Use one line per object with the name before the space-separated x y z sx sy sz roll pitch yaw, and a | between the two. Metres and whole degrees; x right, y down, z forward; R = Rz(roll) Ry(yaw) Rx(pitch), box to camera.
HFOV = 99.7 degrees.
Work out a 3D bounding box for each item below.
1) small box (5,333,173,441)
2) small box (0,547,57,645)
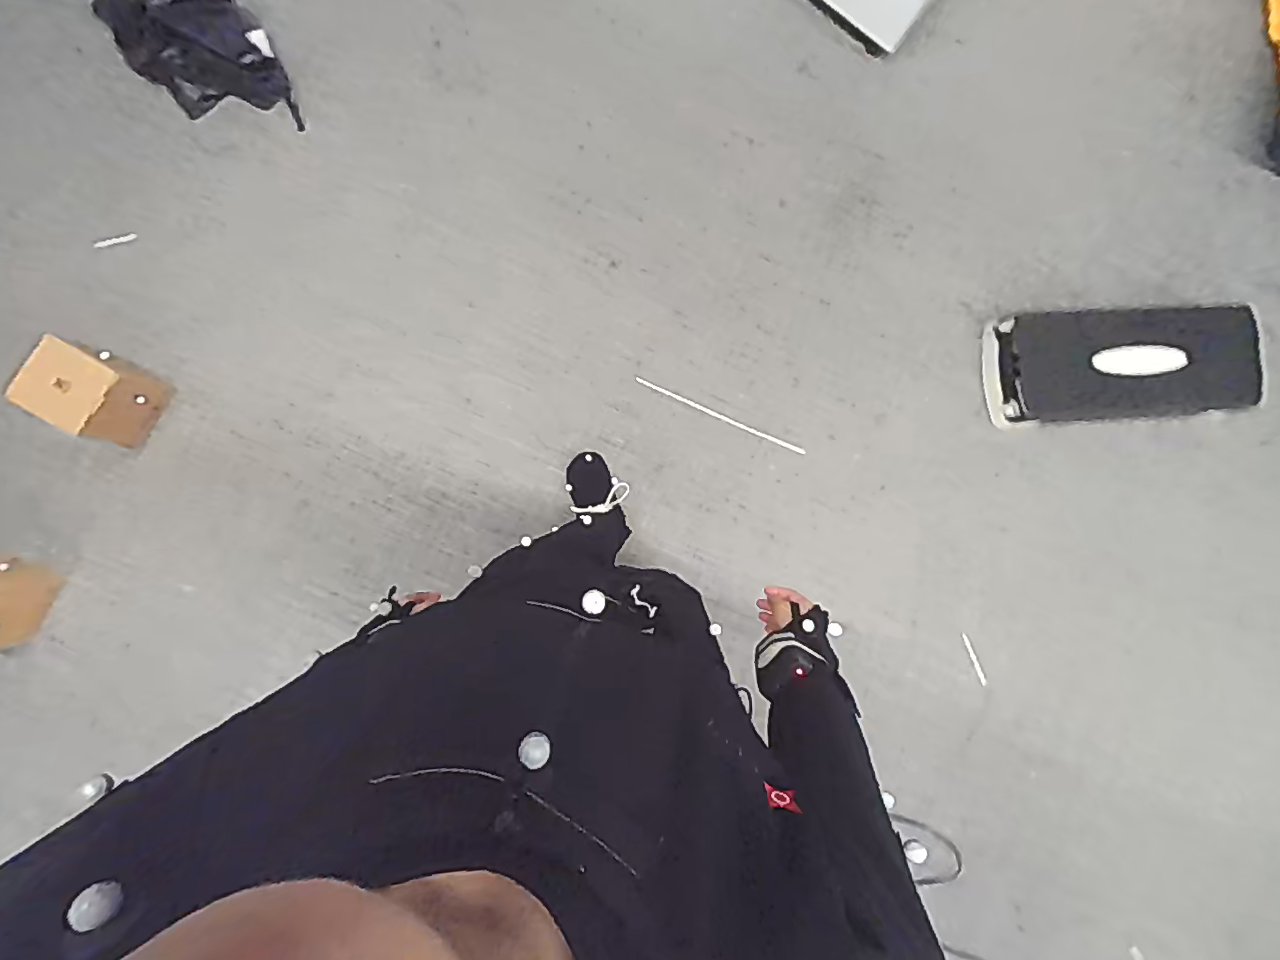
small box | -1.243 -0.203 1.237 0.179 0.176 0.168 31 85 -1
small box | -1.481 0.262 1.203 0.168 0.176 0.179 27 87 -2
